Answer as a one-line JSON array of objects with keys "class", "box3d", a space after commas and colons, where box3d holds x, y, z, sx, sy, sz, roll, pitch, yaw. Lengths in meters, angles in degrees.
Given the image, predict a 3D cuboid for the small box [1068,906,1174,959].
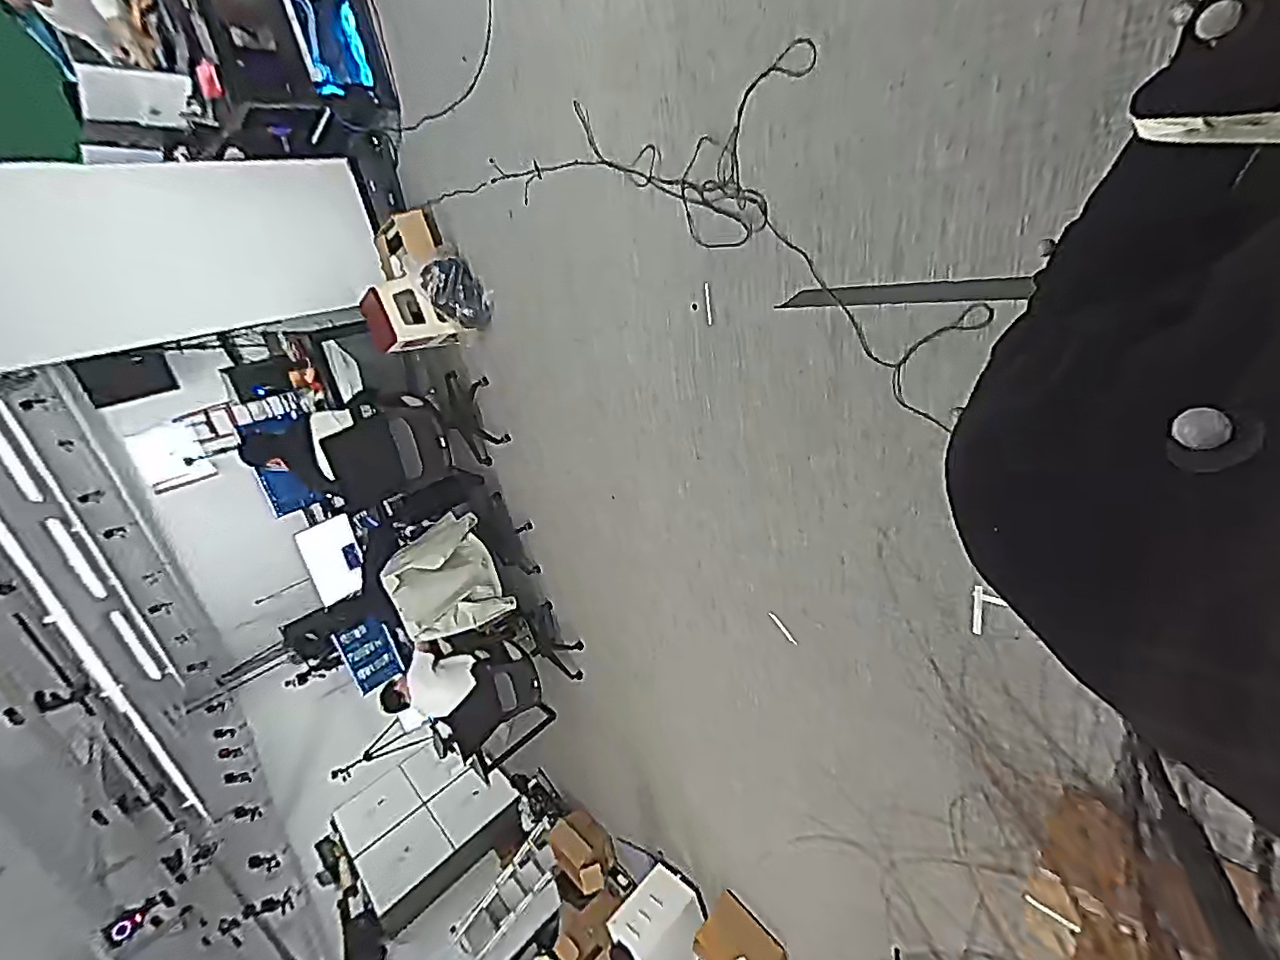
[{"class": "small box", "box3d": [1.155, 1.201, 1.308, 0.179, 0.176, 0.168, 15, 123, 46]}]
